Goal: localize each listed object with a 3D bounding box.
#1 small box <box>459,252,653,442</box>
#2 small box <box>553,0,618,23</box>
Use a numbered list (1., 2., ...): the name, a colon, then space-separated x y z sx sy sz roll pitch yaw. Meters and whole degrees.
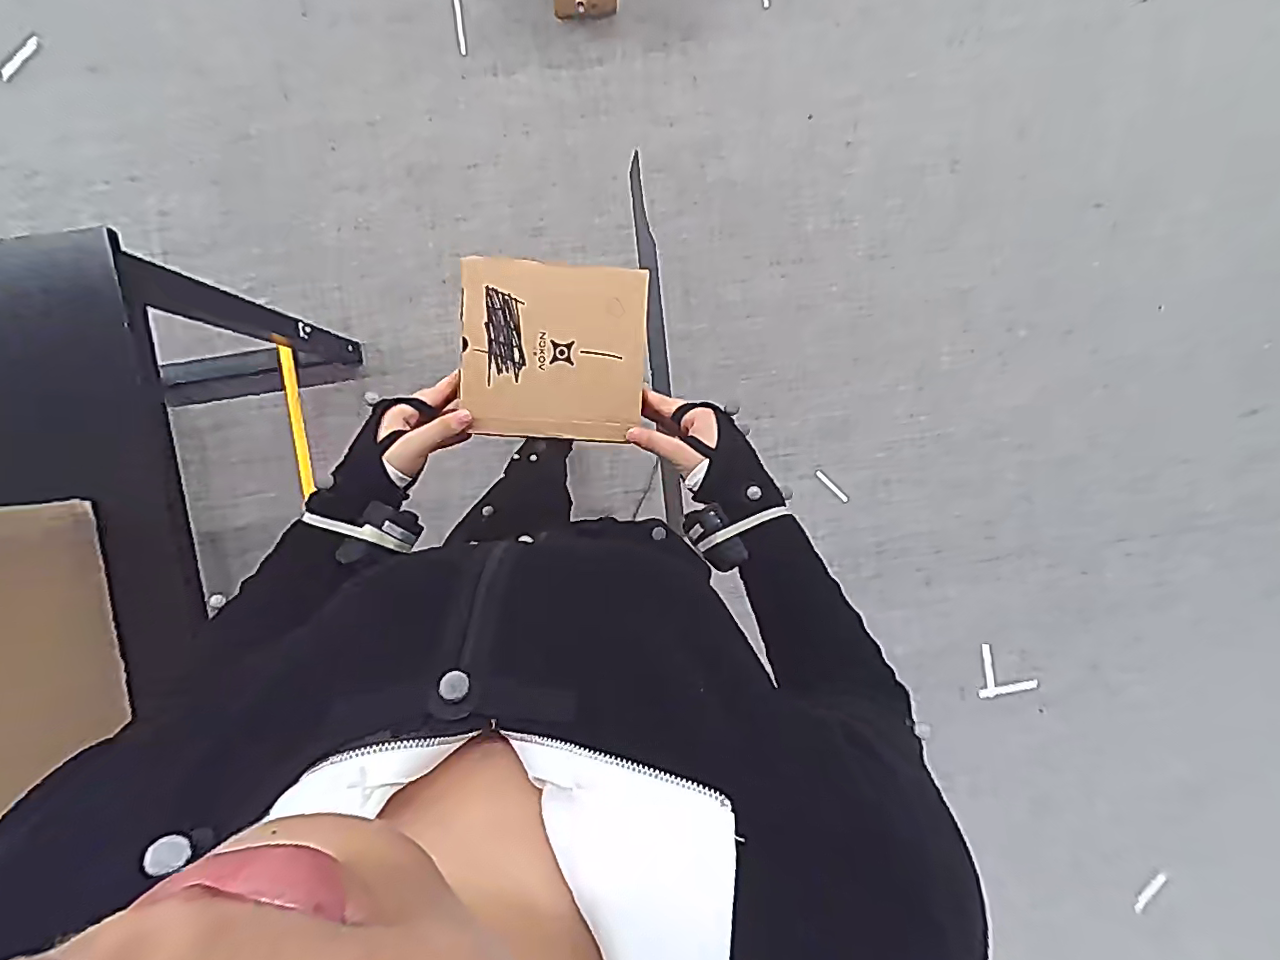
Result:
1. small box: -0.085 -0.129 0.587 0.179 0.176 0.168 3 93 -5
2. small box: -0.143 -1.271 1.316 0.168 0.176 0.179 -7 95 -2
